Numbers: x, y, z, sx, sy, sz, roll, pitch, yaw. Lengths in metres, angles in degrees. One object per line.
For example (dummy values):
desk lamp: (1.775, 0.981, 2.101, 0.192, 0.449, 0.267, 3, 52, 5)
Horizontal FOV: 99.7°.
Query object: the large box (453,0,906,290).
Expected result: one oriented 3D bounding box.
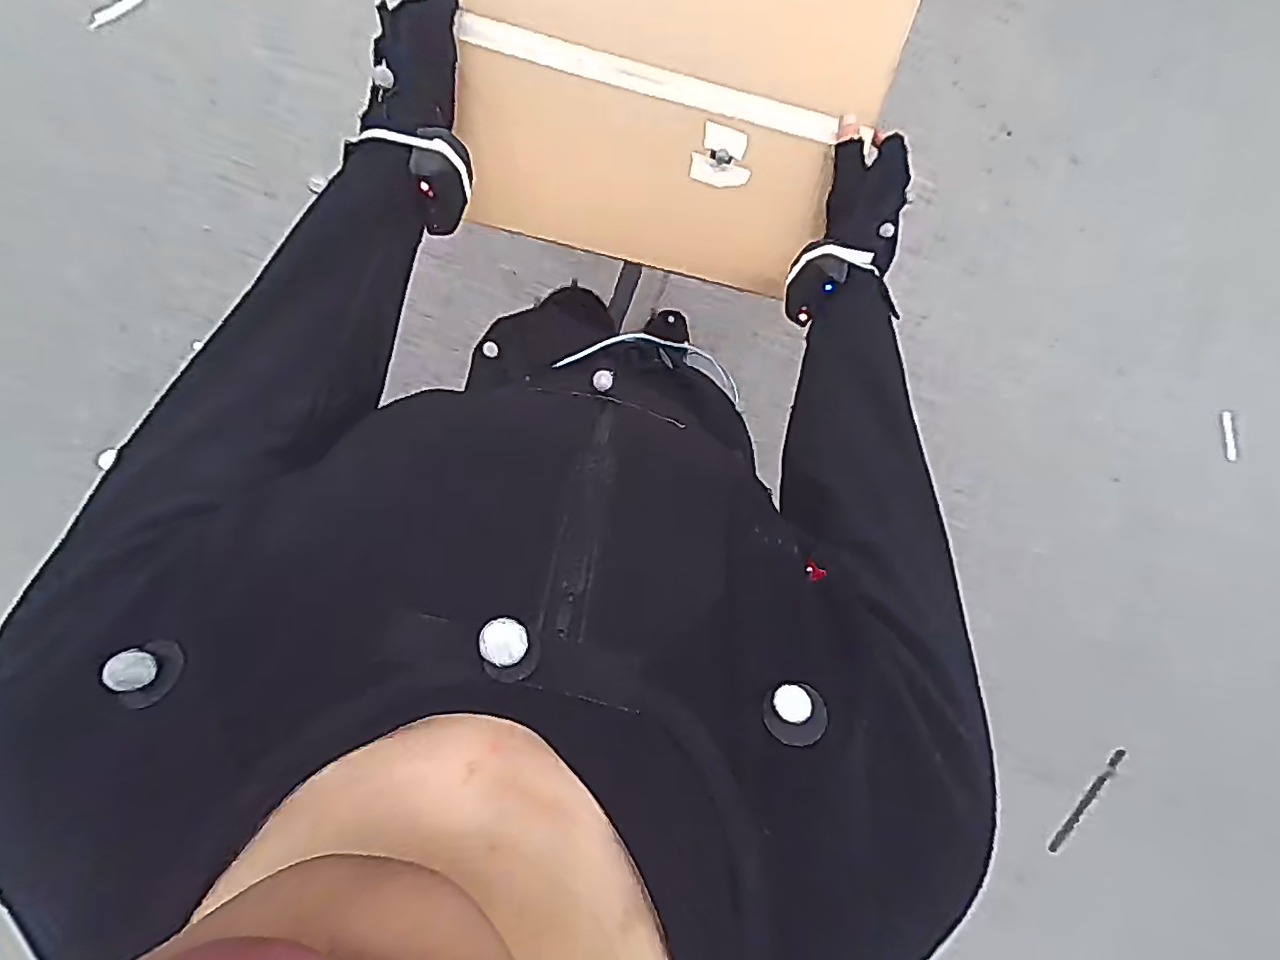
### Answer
large box: (0.023, -0.444, 0.654, 0.408, 0.320, 0.320, 11, 115, -7)
